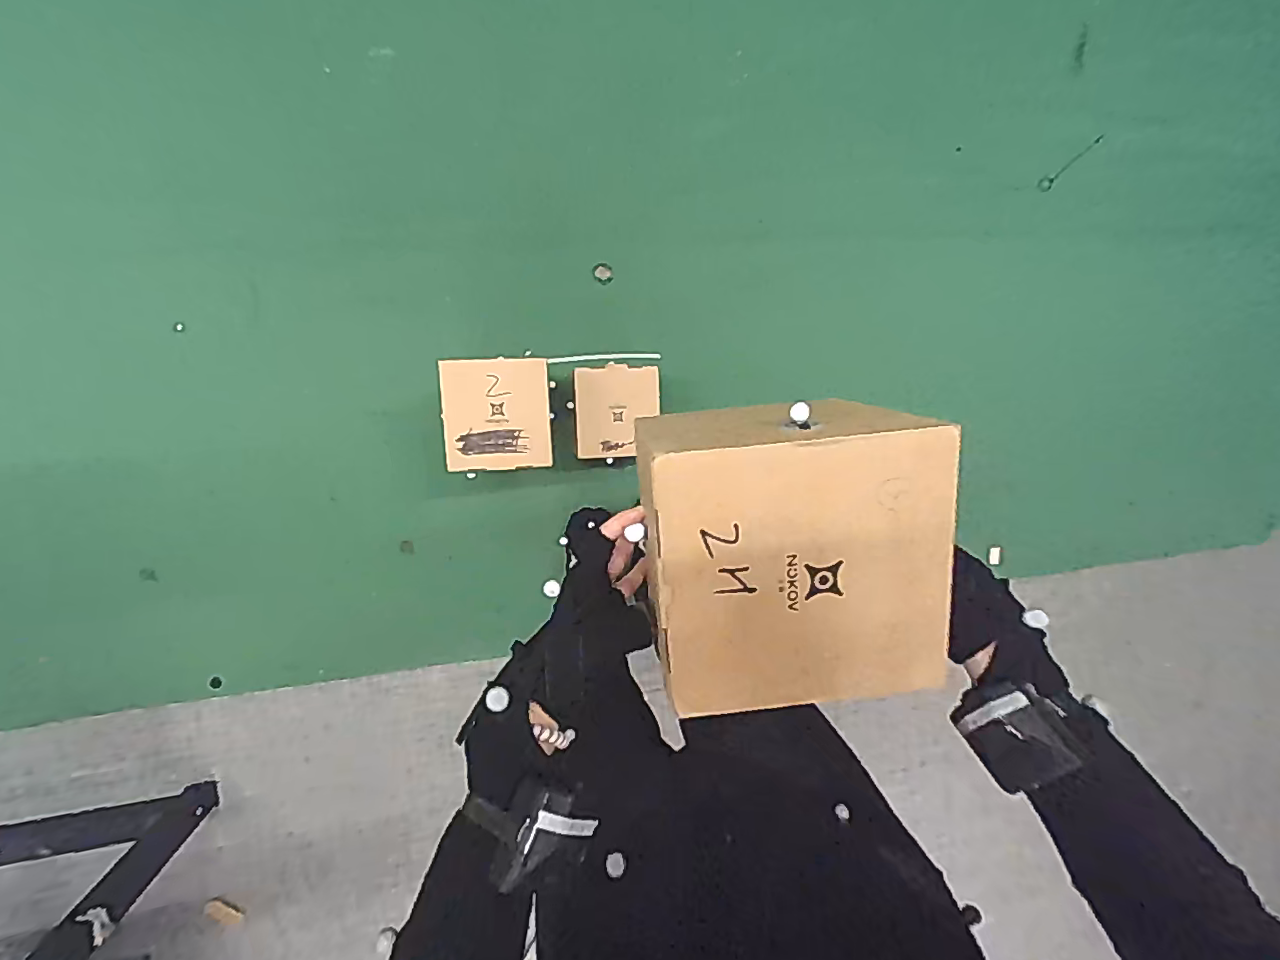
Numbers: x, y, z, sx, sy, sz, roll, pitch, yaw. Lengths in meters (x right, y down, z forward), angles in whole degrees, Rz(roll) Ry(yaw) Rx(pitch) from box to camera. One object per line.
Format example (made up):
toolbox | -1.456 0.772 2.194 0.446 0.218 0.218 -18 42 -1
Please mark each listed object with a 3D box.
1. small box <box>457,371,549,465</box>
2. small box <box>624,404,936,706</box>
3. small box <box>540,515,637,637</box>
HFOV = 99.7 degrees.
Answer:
small box | -0.270 -0.128 1.096 0.168 0.176 0.179 -1 98 -10
small box | 0.086 0.038 0.406 0.179 0.176 0.168 -6 104 -3
small box | -0.094 0.204 1.181 0.179 0.176 0.168 39 109 9
